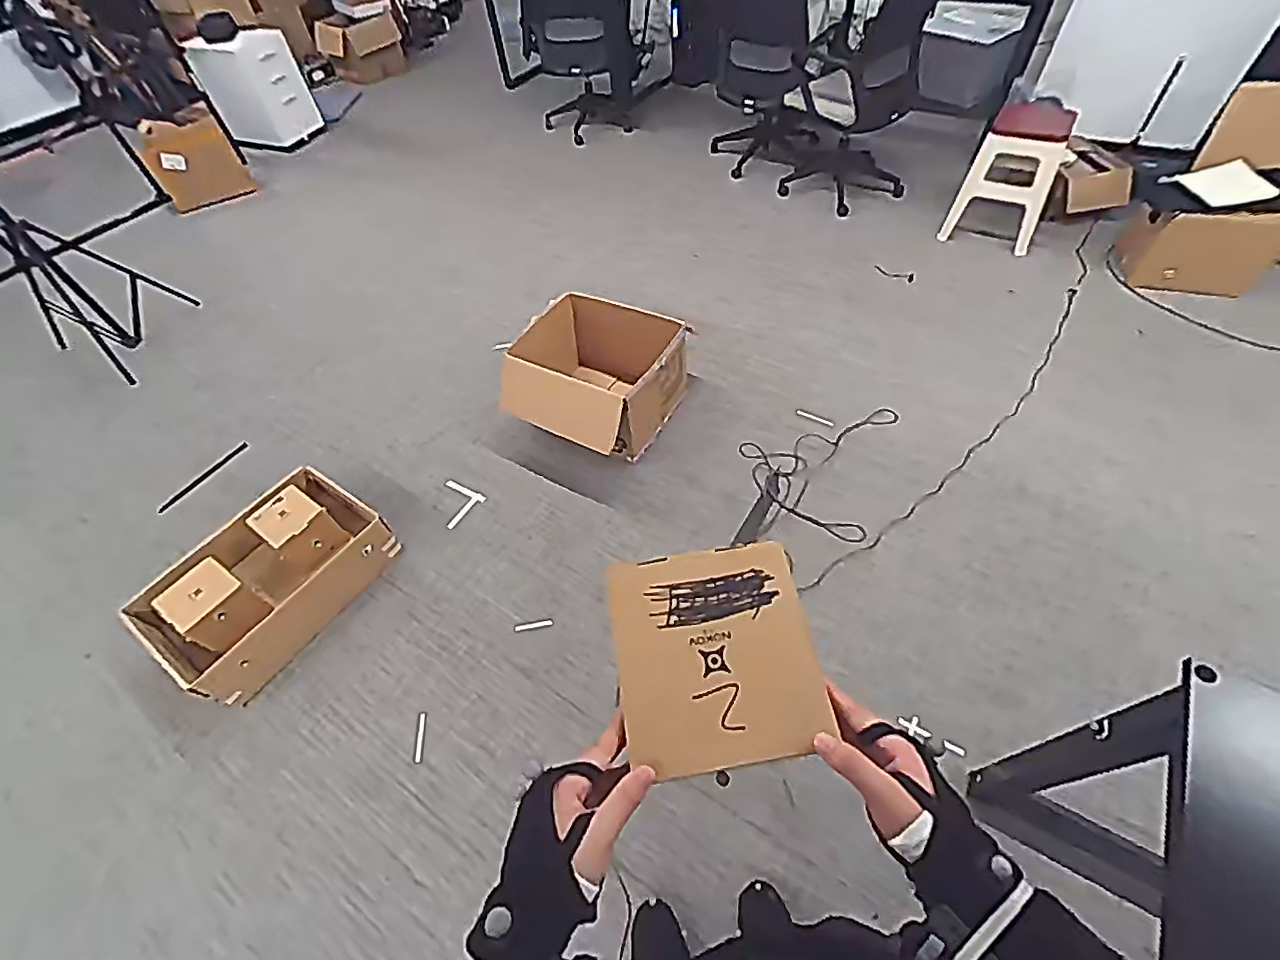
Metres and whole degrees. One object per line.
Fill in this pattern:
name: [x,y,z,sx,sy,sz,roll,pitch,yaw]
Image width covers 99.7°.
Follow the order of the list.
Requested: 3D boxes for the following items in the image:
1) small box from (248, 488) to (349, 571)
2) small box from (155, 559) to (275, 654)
small box: [-1.059,0.162,1.692,0.179,0.176,0.168,29,61,22]
small box: [-1.208,0.367,1.550,0.168,0.176,0.179,27,58,21]
